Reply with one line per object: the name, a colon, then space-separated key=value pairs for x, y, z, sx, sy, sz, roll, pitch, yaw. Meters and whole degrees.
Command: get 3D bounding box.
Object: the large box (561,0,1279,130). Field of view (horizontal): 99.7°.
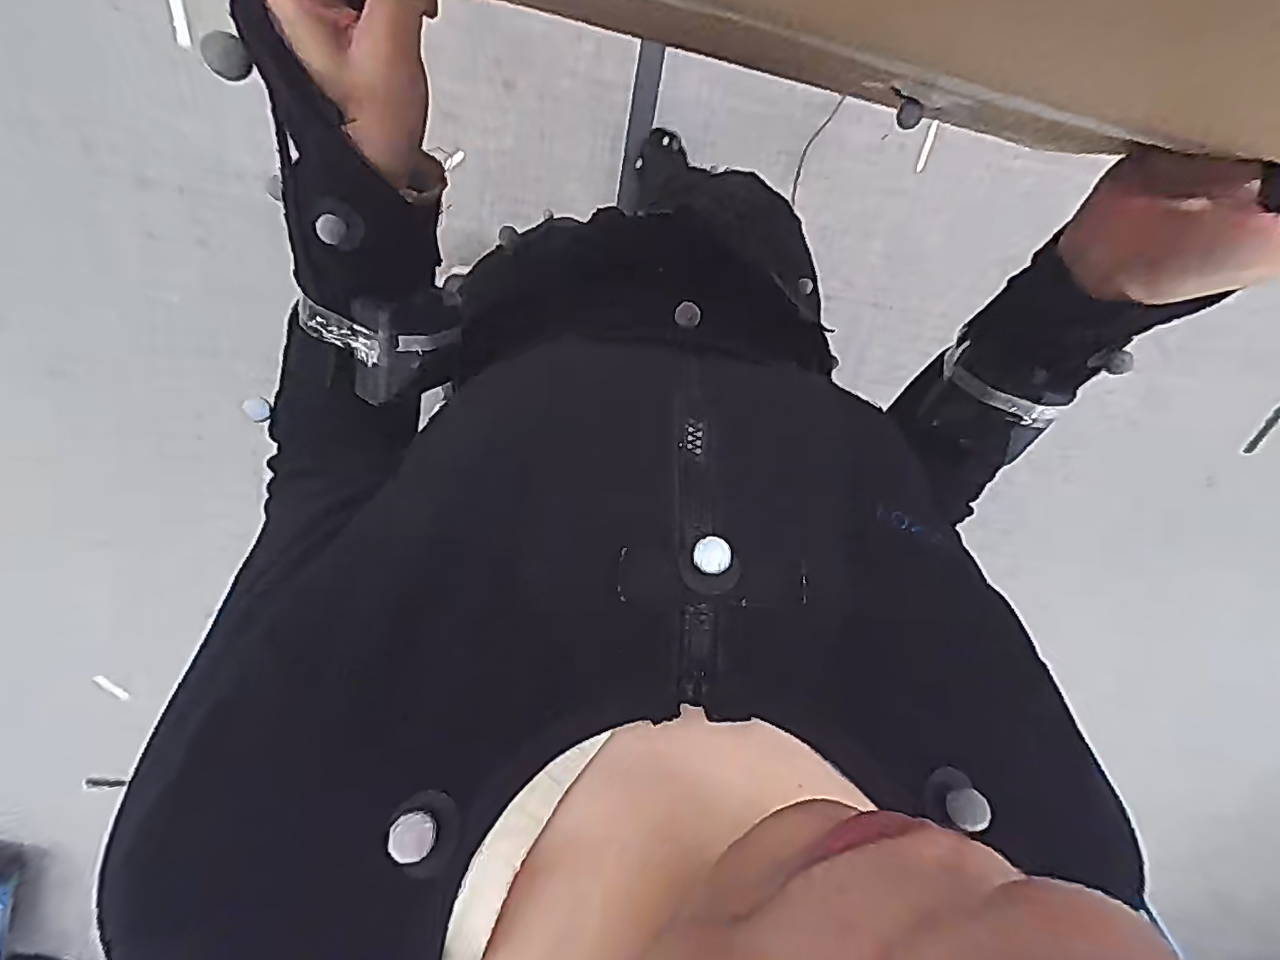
large box: x=0.094 y=-0.314 z=0.132 sx=0.408 sy=0.320 sz=0.320 roll=9 pitch=124 yaw=-5
